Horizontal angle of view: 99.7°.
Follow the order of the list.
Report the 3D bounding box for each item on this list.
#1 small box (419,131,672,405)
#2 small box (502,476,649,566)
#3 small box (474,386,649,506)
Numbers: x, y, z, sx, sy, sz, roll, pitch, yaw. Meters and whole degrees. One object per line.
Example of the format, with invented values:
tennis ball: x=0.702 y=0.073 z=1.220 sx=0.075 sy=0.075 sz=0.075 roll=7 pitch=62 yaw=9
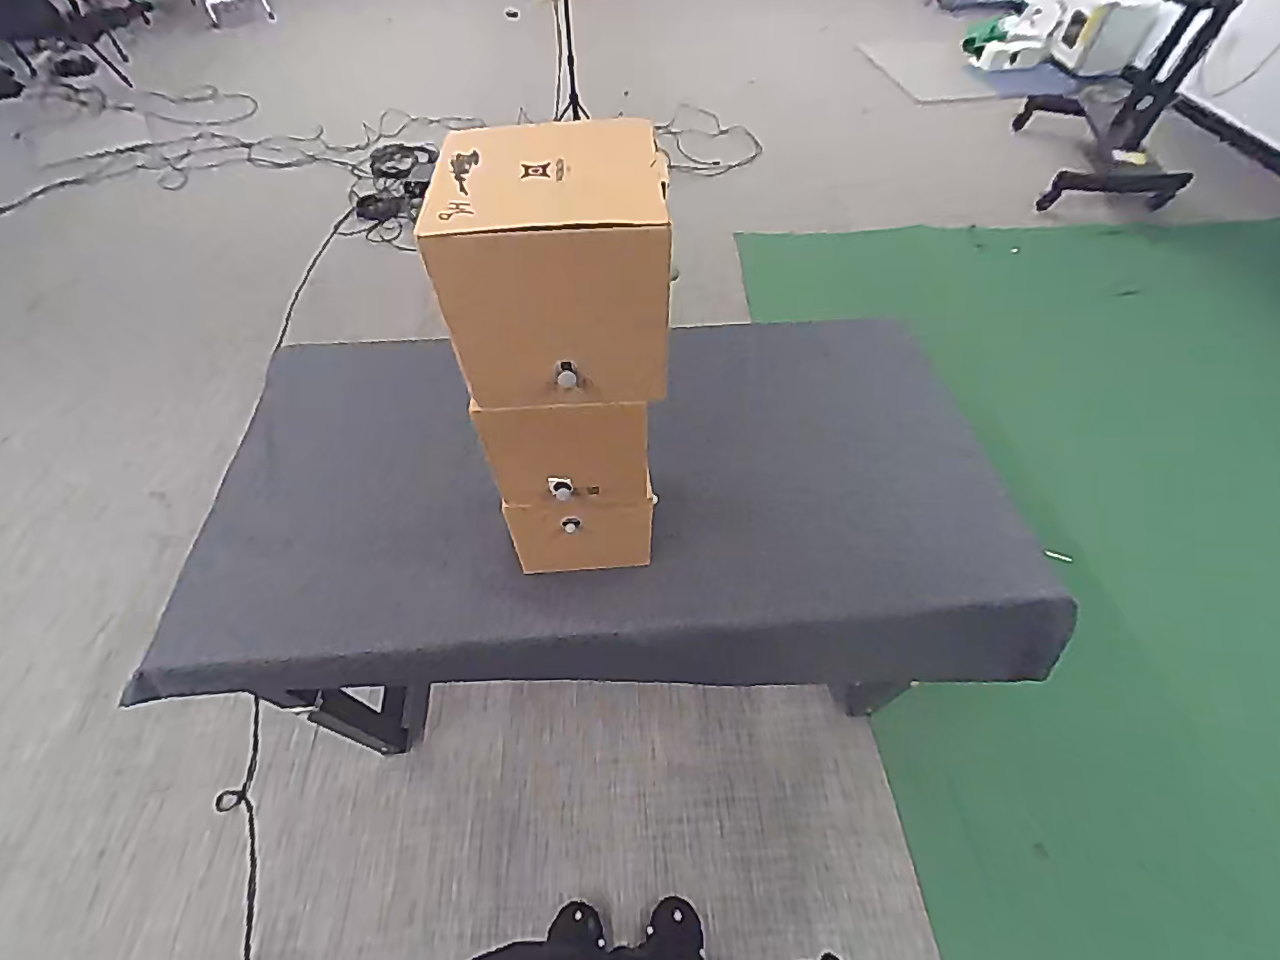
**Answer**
small box: x=-0.070 y=-0.182 z=0.482 sx=0.179 sy=0.176 sz=0.168 roll=-3 pitch=53 yaw=-2
small box: x=-0.082 y=0.008 z=0.746 sx=0.179 sy=0.176 sz=0.168 roll=-3 pitch=54 yaw=-4
small box: x=-0.079 y=-0.090 z=0.617 sx=0.168 sy=0.176 sz=0.179 roll=-4 pitch=55 yaw=-2
